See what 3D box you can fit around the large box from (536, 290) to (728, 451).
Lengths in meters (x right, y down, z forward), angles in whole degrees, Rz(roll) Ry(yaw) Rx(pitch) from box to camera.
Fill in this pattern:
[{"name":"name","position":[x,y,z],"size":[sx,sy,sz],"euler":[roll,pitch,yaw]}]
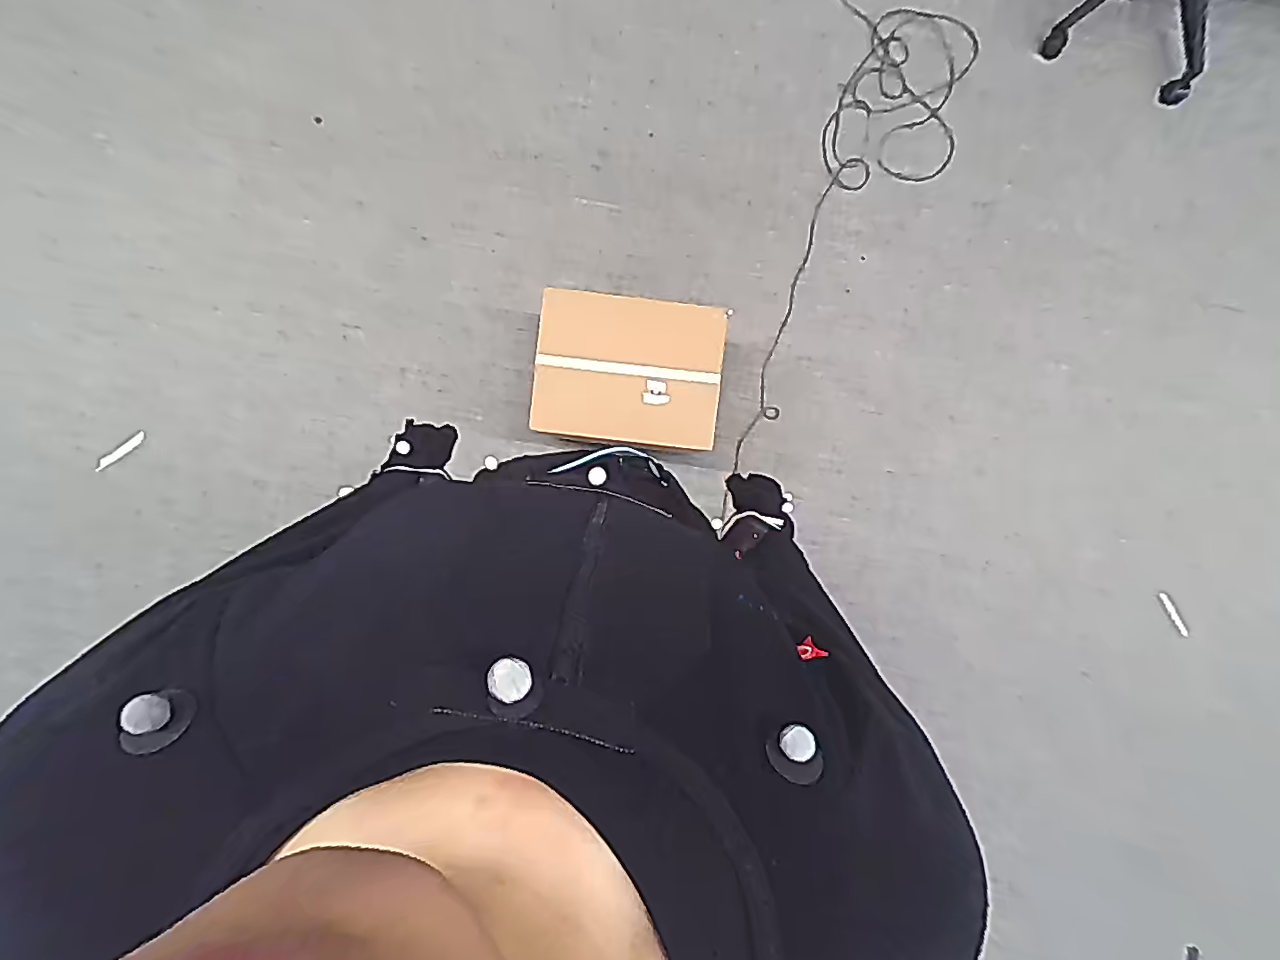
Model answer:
[{"name":"large box","position":[-0.022,-0.247,1.333],"size":[0.408,0.320,0.320],"euler":[6,92,-1]}]
